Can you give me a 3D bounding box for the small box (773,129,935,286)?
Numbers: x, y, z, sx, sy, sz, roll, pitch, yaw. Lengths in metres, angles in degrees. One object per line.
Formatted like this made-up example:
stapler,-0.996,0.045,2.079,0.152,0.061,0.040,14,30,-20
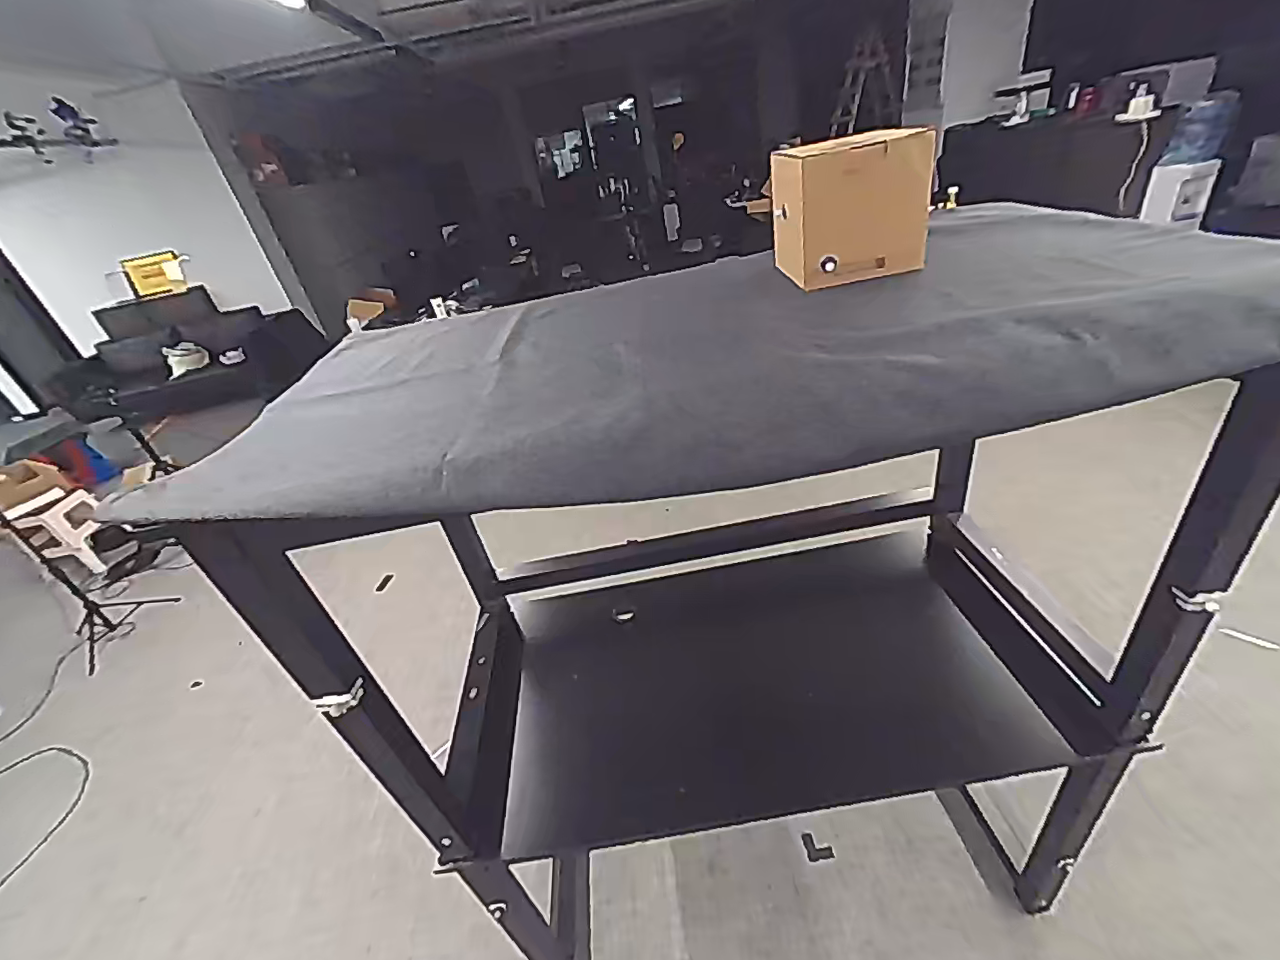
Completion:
small box,0.296,-0.388,0.778,0.168,0.176,0.179,-9,32,4
